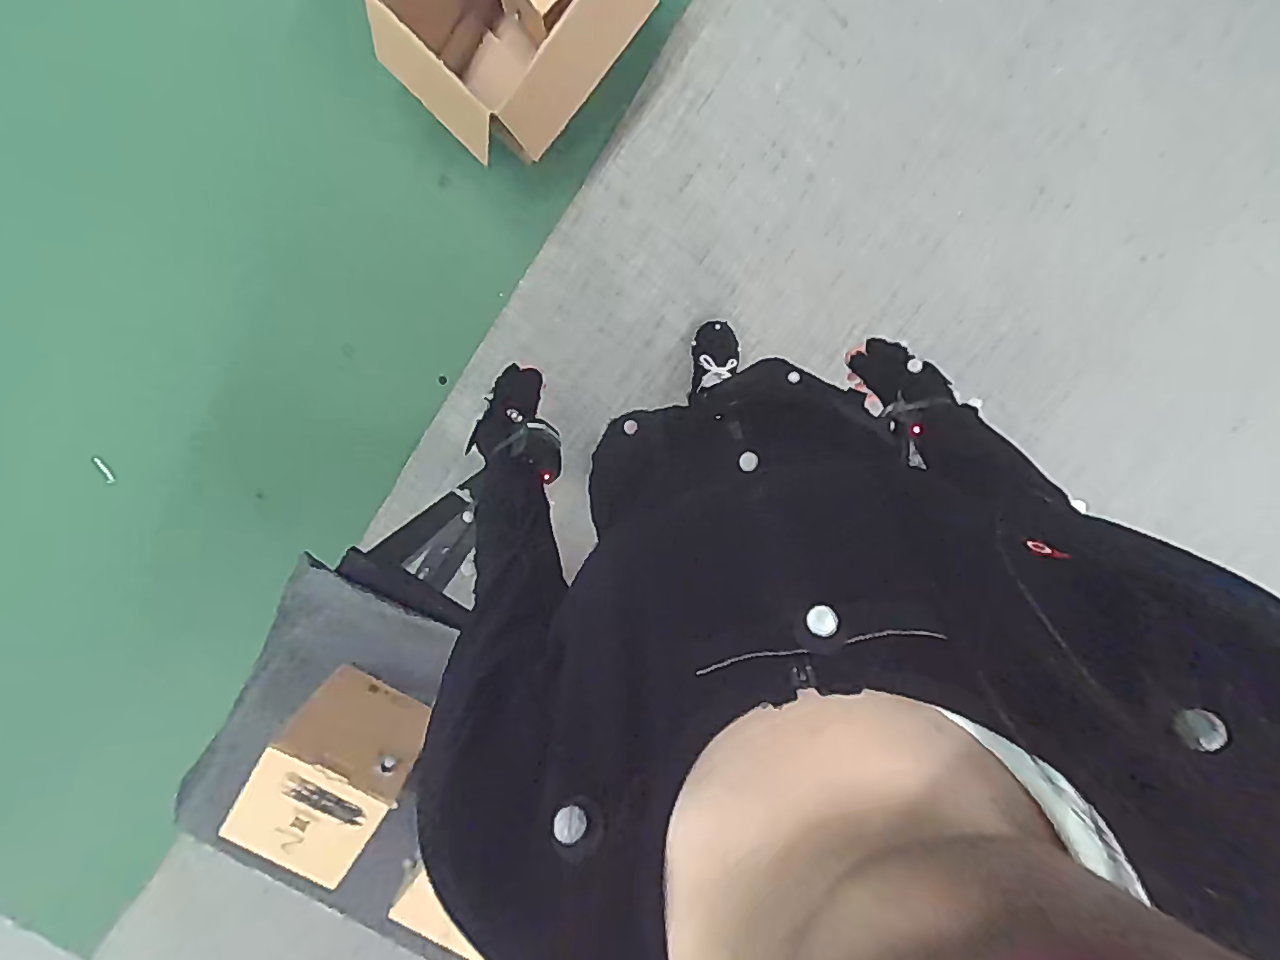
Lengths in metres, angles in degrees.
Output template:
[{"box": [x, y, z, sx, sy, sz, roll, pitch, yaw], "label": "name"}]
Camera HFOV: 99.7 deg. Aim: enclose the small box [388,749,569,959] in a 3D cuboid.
[{"box": [-0.217, 0.539, 0.779, 0.168, 0.176, 0.179, 34, 102, -8], "label": "small box"}]
